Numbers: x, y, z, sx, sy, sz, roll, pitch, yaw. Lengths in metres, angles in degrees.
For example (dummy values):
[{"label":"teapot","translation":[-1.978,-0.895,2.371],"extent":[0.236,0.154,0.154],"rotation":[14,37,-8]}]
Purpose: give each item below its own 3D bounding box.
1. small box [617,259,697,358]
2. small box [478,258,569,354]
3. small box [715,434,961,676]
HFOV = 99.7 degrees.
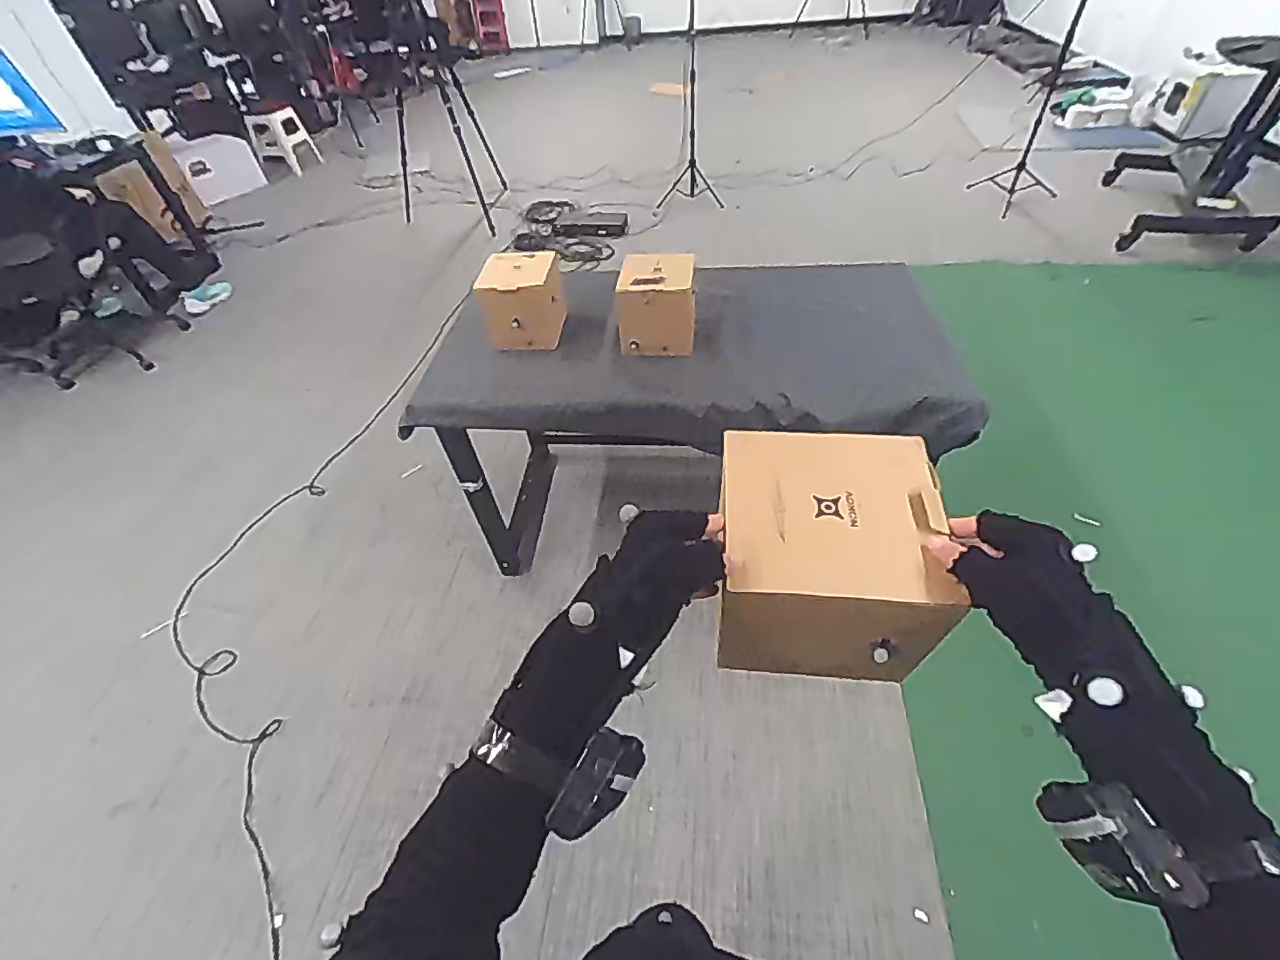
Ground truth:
[{"label":"small box","translation":[0.048,-0.403,1.279],"extent":[0.168,0.176,0.179],"rotation":[2,46,8]},{"label":"small box","translation":[-0.278,-0.425,1.335],"extent":[0.168,0.176,0.179],"rotation":[0,48,6]},{"label":"small box","translation":[0.161,0.074,0.510],"extent":[0.179,0.176,0.168],"rotation":[0,50,8]}]
